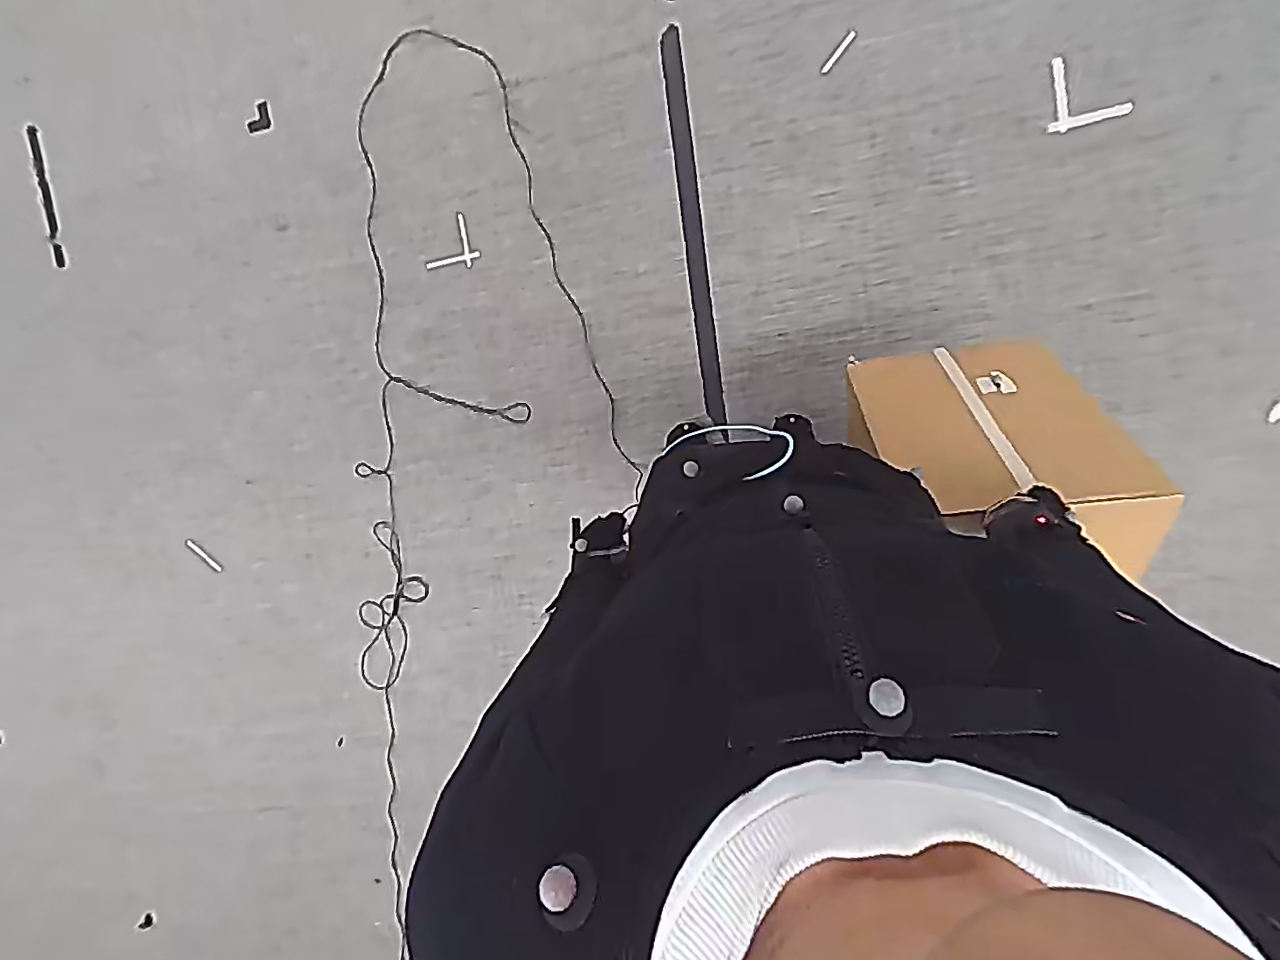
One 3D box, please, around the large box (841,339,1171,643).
[{"bbox_3d":[0.547,0.014,0.922,0.320,0.408,0.320,-7,129,12],"label":"large box"}]
